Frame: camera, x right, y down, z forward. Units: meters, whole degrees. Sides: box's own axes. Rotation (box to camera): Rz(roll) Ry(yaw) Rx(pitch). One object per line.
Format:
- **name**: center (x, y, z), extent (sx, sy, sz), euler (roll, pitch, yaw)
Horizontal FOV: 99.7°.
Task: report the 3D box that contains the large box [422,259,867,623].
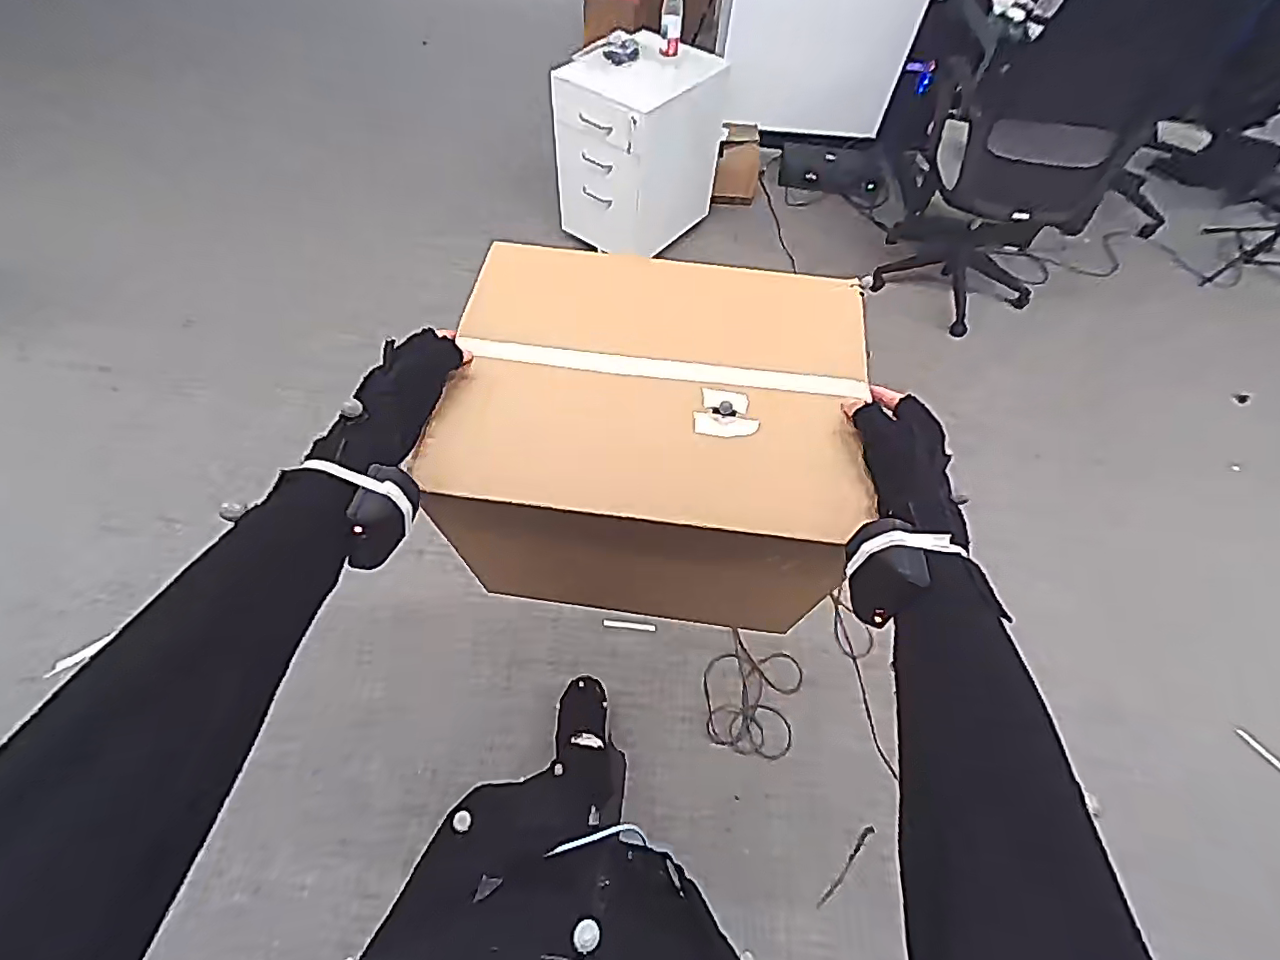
- **large box**: center (0.012, -0.031, 0.674), extent (0.408, 0.320, 0.320), euler (7, 62, 2)
